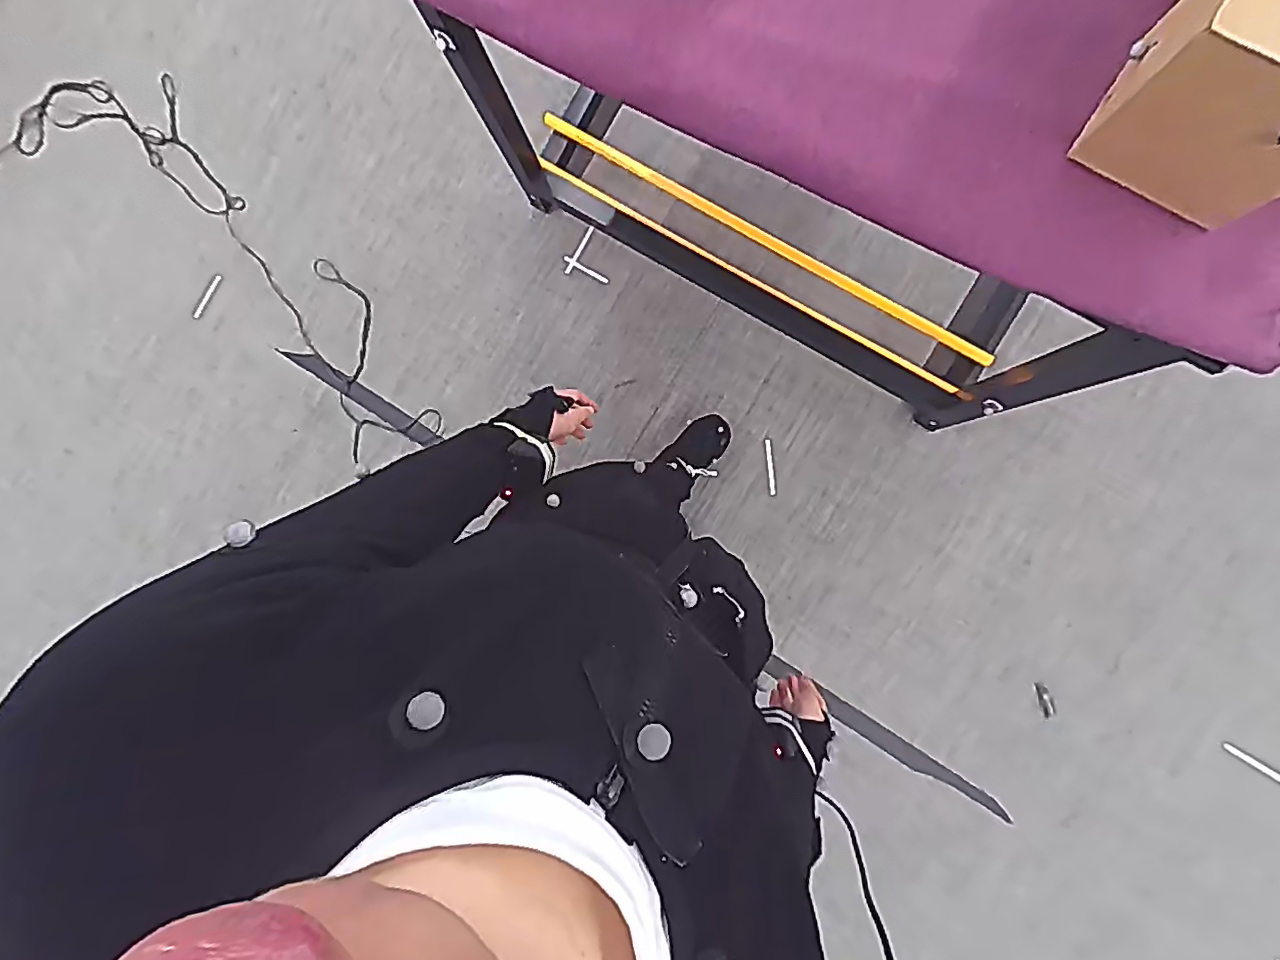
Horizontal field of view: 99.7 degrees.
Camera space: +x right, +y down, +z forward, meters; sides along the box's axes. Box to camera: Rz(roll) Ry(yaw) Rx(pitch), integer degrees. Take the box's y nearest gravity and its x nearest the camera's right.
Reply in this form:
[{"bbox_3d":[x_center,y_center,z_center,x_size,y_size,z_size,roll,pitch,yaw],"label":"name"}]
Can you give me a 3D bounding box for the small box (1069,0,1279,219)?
[{"bbox_3d":[0.586,-0.388,0.521,0.179,0.176,0.168,33,90,6],"label":"small box"}]
